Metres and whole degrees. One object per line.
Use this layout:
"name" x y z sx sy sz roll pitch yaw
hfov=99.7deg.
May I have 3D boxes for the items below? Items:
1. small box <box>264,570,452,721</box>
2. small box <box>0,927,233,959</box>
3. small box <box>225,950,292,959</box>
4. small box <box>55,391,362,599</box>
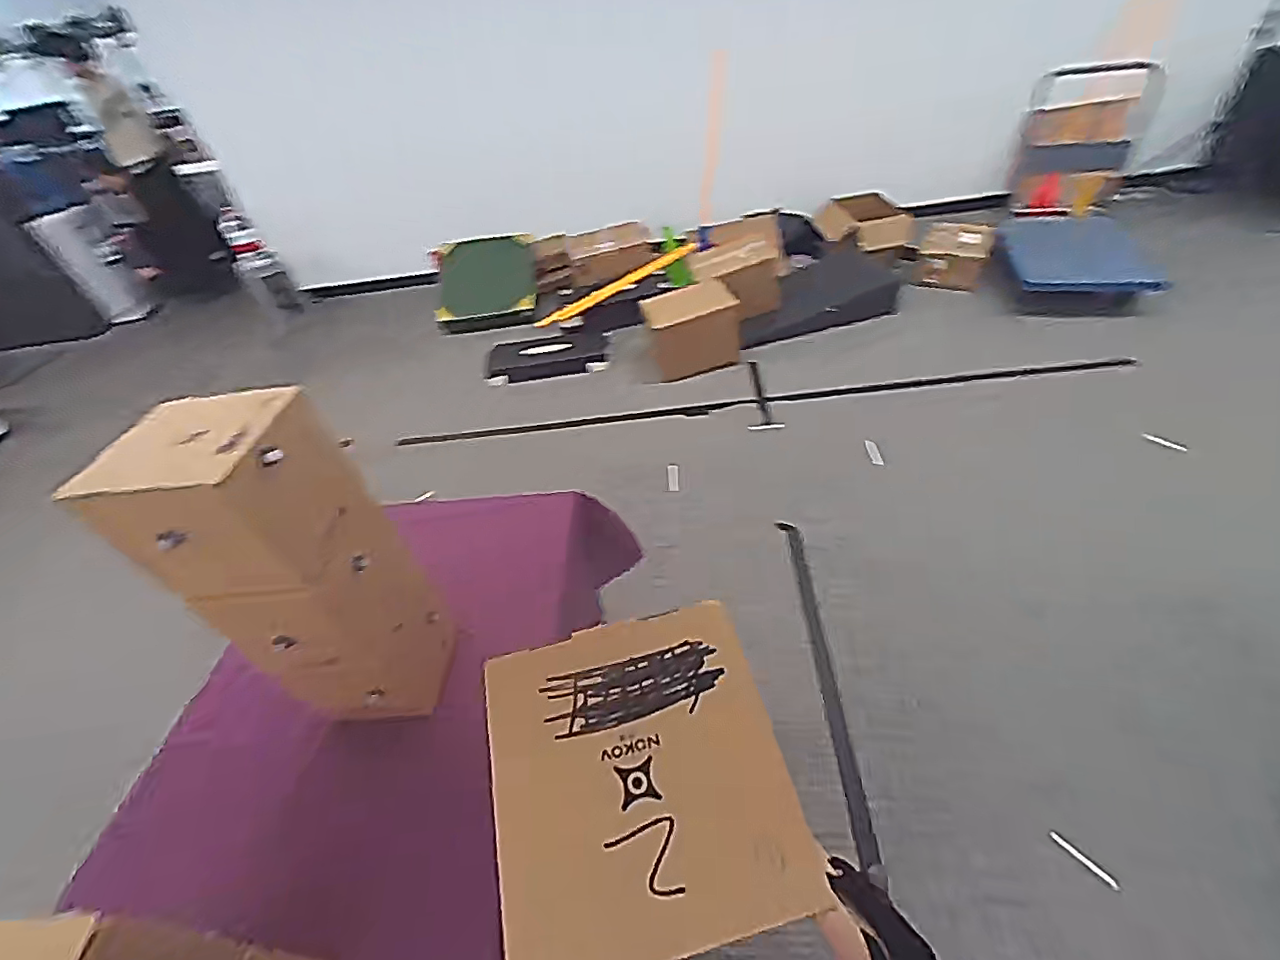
"small box" -0.418 0.259 0.841 0.179 0.176 0.168 -6 43 6
"small box" -0.469 0.456 0.408 0.179 0.176 0.168 -7 43 4
"small box" -0.446 0.573 0.520 0.179 0.176 0.168 -6 43 5
"small box" -0.465 0.021 0.621 0.179 0.176 0.168 -6 43 6
